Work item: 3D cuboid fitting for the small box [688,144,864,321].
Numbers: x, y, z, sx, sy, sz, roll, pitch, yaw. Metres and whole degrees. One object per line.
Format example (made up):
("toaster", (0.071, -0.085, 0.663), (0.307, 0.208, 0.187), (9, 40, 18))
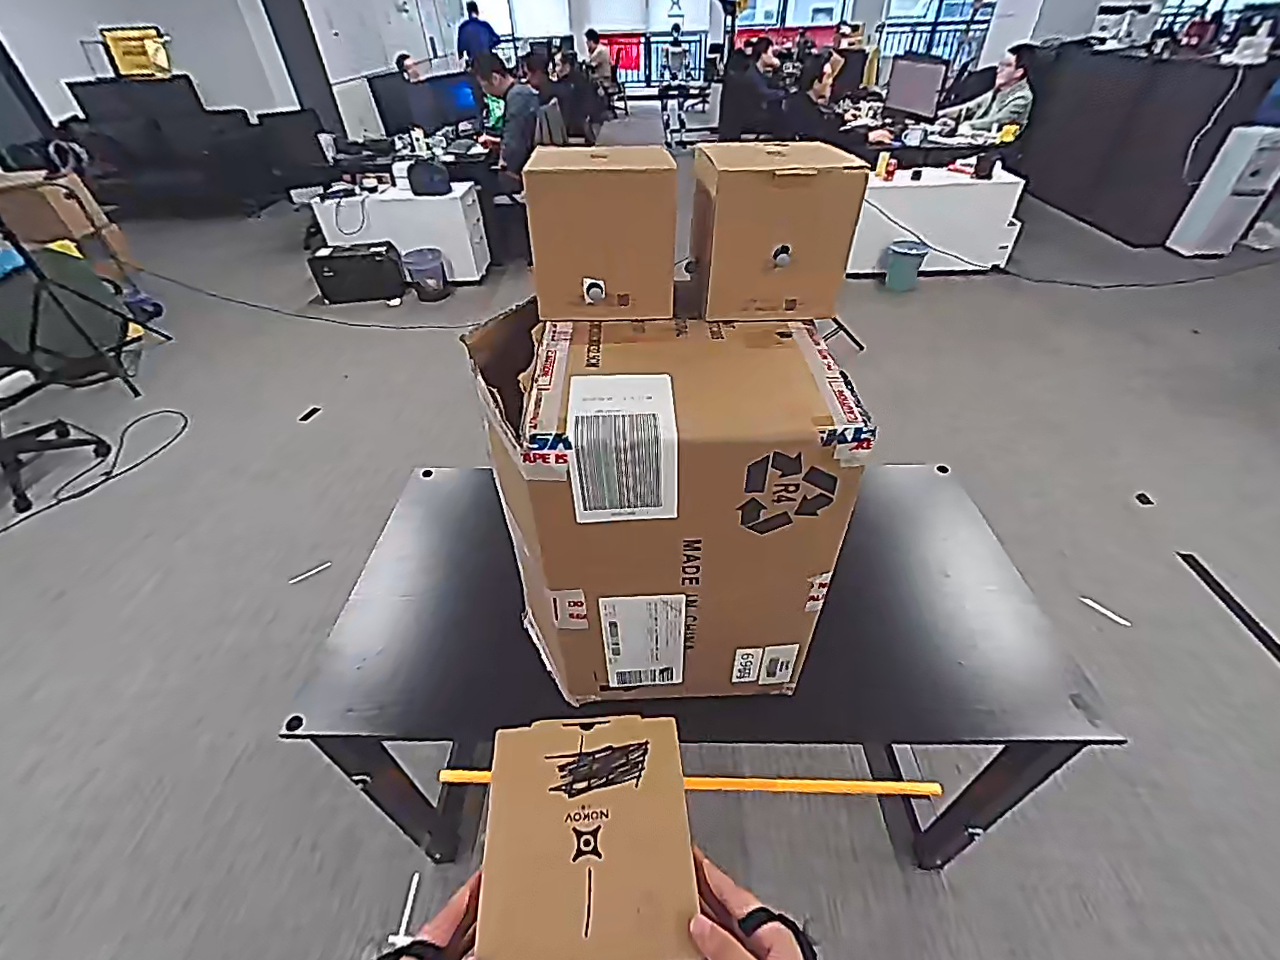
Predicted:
("small box", (0.155, -0.312, 0.683), (0.168, 0.176, 0.179), (-1, 40, -3))

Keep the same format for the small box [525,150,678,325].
("small box", (-0.045, -0.308, 0.684), (0.168, 0.176, 0.179), (-4, 39, -3))

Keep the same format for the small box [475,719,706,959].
("small box", (-0.042, 0.344, 0.491), (0.168, 0.176, 0.179), (-3, 42, -4))
